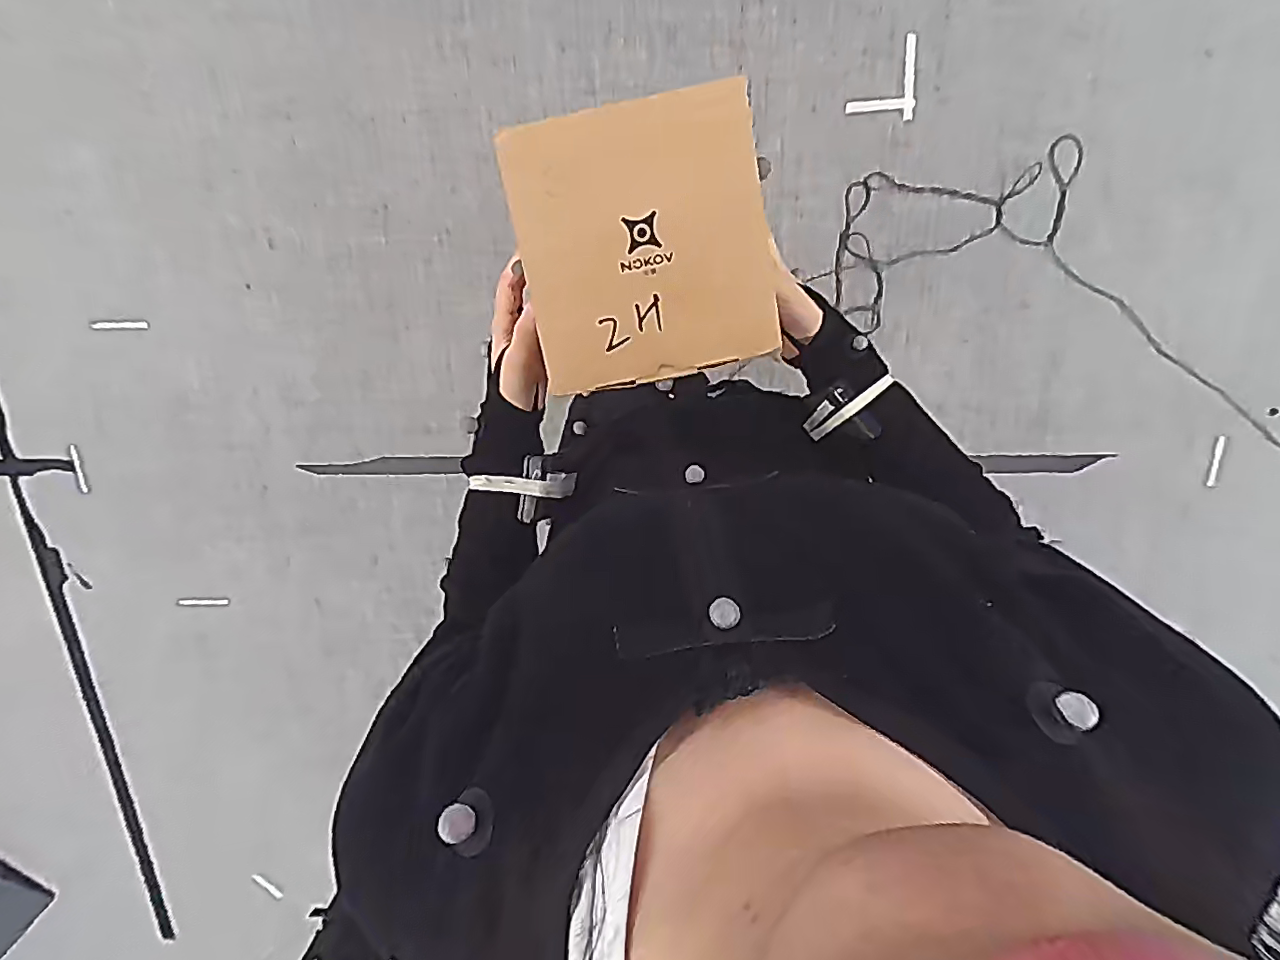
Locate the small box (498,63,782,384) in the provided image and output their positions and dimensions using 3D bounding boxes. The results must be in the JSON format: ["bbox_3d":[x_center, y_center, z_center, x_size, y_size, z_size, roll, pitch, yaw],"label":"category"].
[{"bbox_3d":[0.005,-0.181,0.438,0.168,0.176,0.179,-11,103,5],"label":"small box"}]
